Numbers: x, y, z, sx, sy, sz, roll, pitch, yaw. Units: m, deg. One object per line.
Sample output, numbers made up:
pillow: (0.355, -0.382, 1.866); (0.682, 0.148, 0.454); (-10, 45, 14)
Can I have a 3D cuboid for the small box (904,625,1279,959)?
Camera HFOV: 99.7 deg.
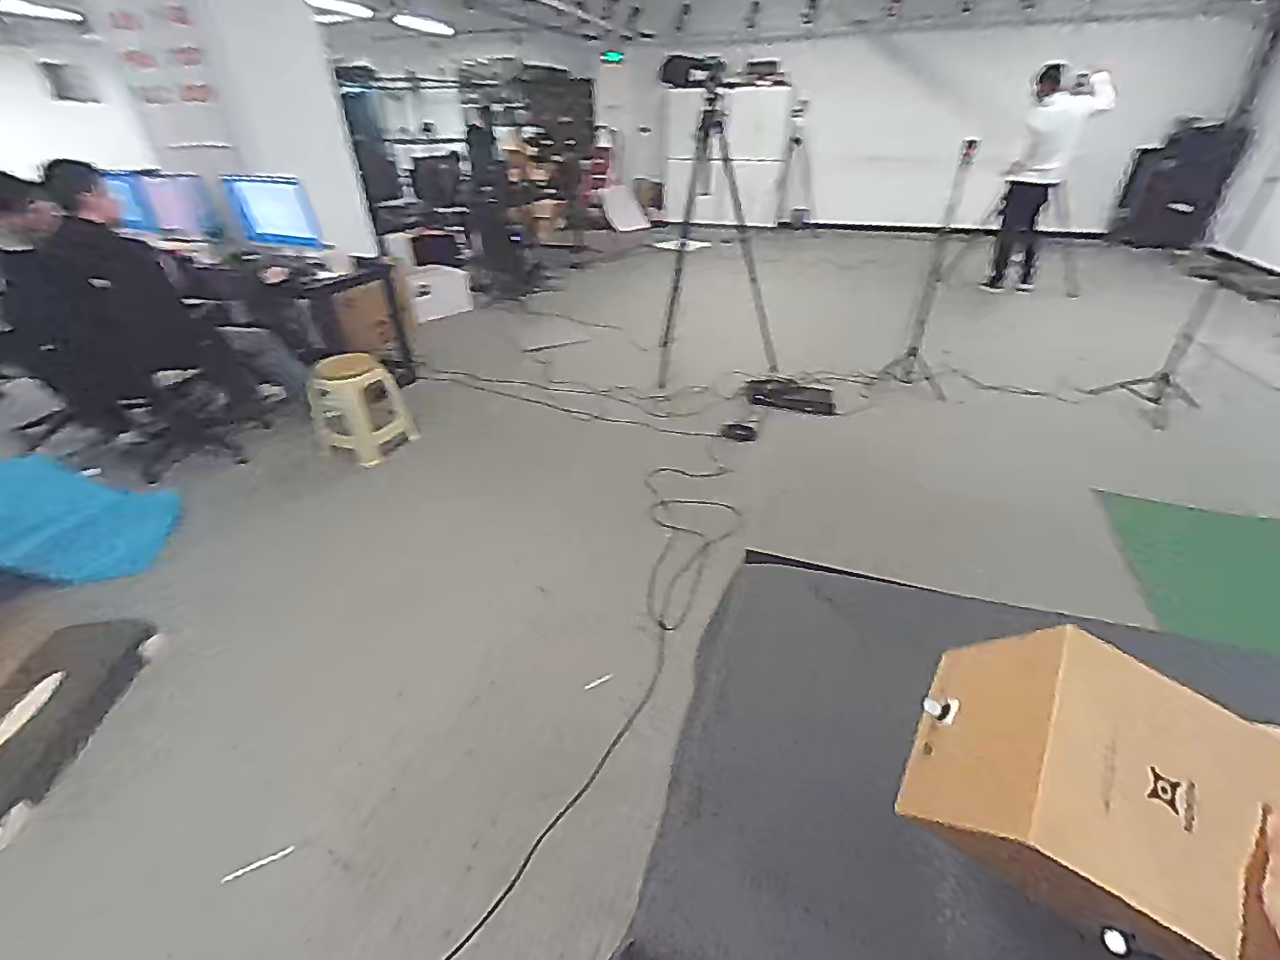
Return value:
small box: (0.357, 0.242, 0.437); (0.179, 0.176, 0.168); (29, 66, 7)
